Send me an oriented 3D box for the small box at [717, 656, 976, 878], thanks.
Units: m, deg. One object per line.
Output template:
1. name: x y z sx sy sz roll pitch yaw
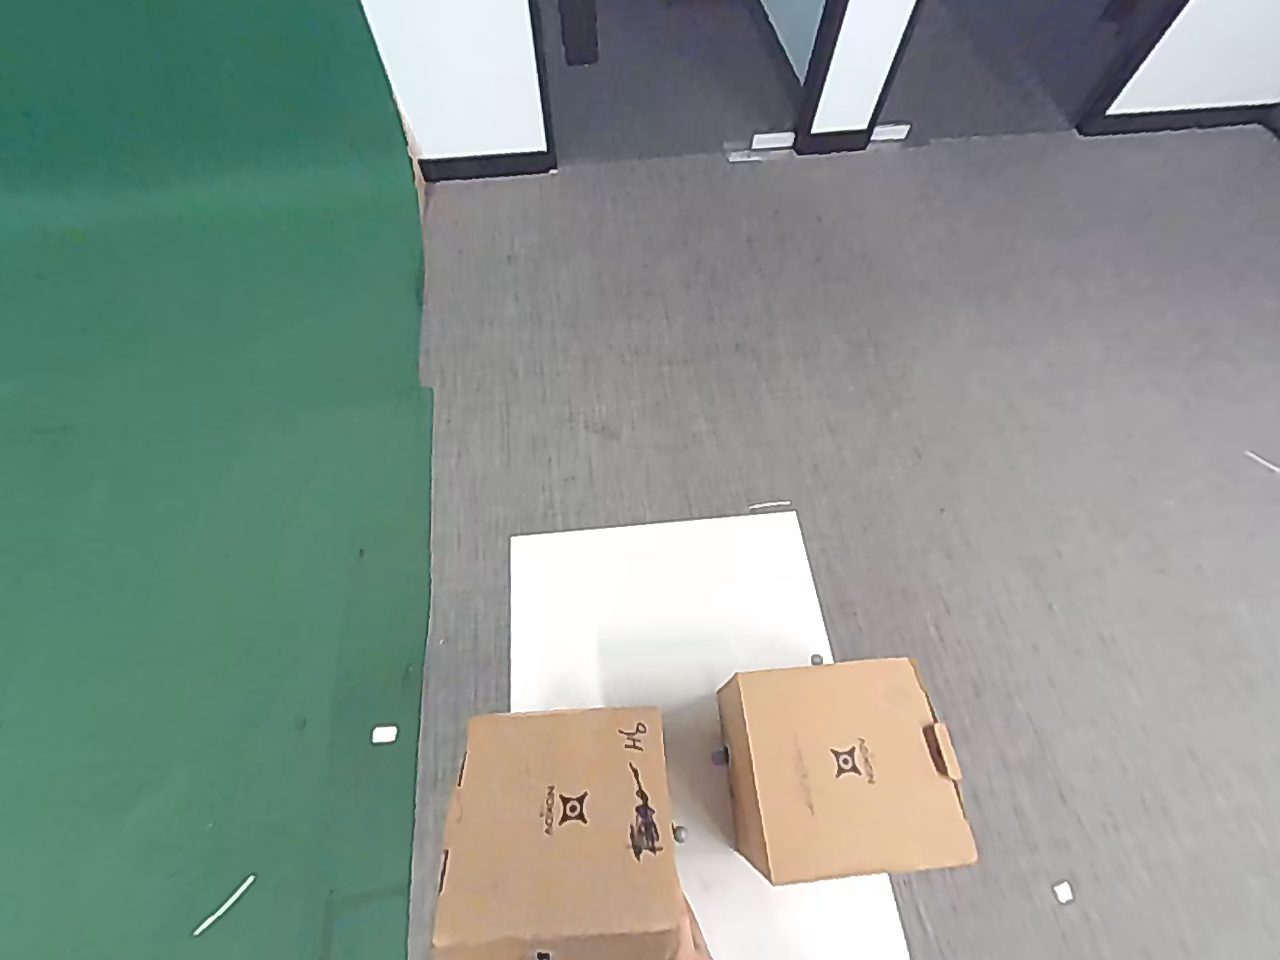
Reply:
1. small box: 0.184 0.278 0.545 0.179 0.176 0.168 -4 63 -2

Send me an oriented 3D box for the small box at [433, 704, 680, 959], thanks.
1. small box: -0.062 0.324 0.486 0.179 0.176 0.168 -2 41 -4
